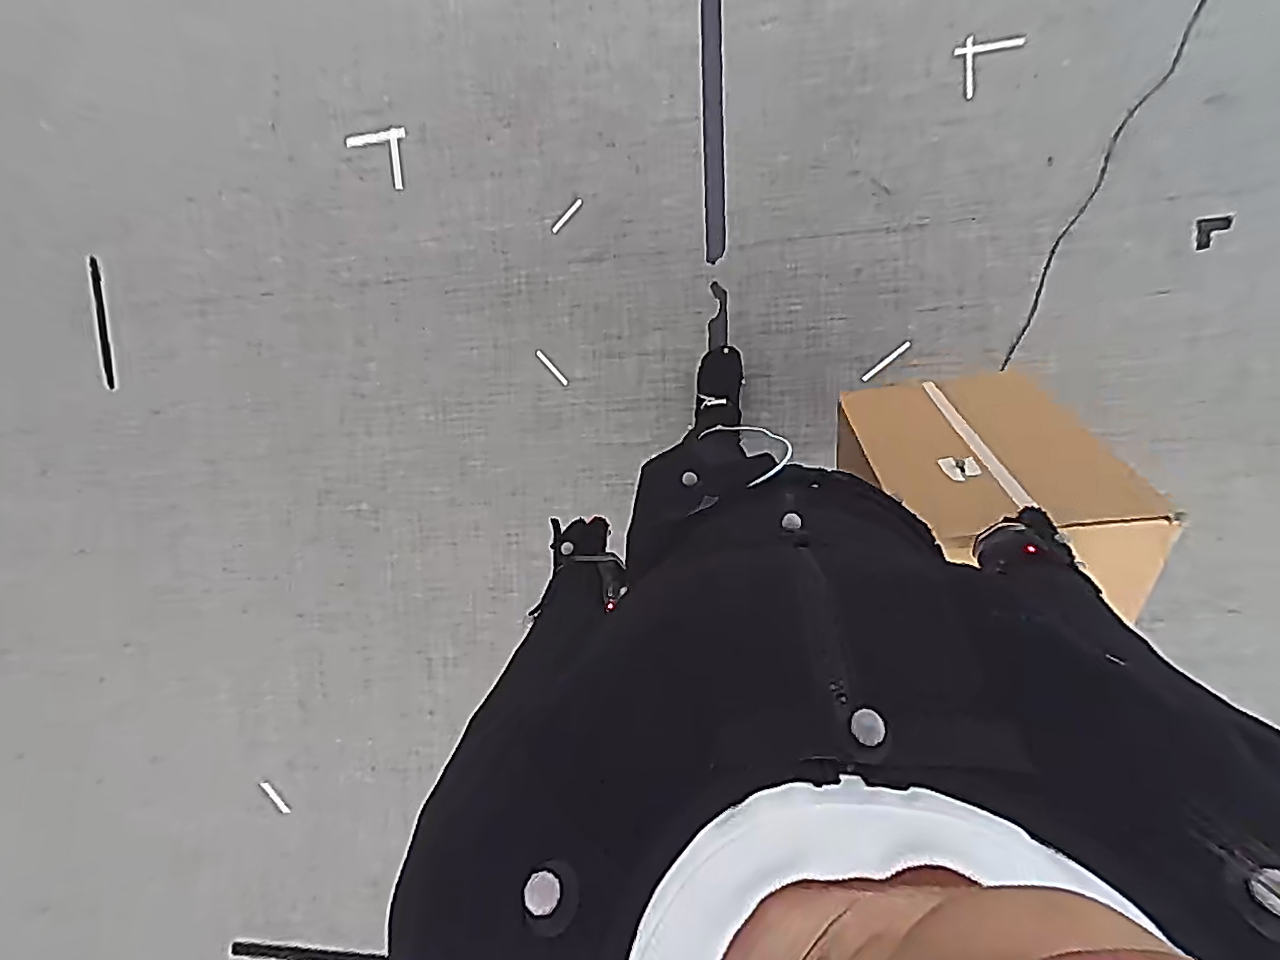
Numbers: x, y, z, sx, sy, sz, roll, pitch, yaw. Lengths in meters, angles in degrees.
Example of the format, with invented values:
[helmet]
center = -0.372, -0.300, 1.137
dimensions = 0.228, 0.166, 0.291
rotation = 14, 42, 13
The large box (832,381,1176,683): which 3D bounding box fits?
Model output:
[large box]
center = 0.534, 0.075, 0.918
dimensions = 0.320, 0.408, 0.320
rotation = -7, 126, 9
